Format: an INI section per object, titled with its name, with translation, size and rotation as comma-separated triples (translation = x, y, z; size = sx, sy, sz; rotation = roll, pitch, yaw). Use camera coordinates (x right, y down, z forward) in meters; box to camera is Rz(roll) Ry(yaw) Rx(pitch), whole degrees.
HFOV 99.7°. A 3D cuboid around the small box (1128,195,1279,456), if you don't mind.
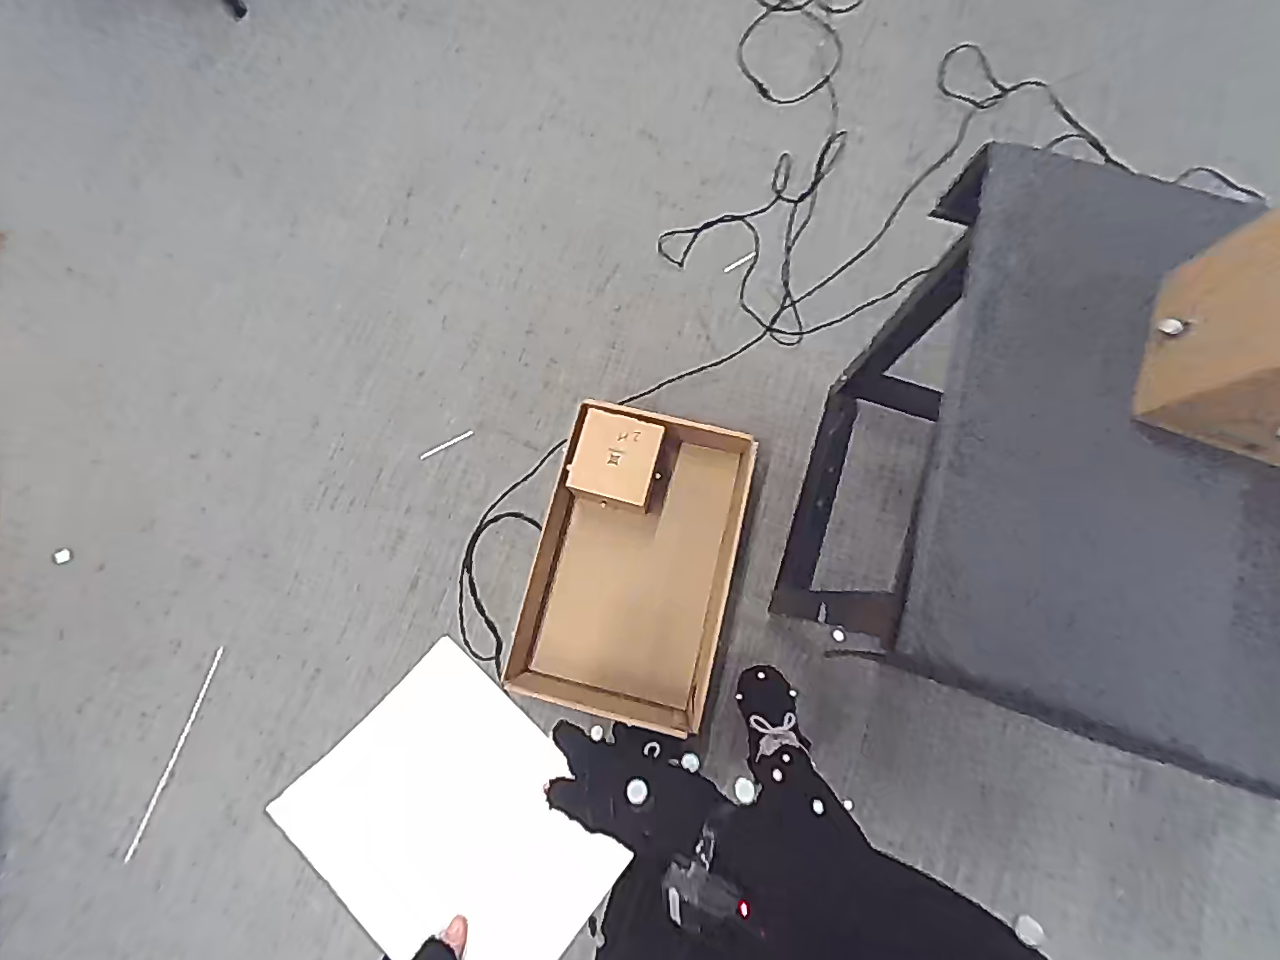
[small box]
translation = 0.608, -0.137, 0.495
size = 0.168, 0.176, 0.179
rotation = 20, 81, 5
